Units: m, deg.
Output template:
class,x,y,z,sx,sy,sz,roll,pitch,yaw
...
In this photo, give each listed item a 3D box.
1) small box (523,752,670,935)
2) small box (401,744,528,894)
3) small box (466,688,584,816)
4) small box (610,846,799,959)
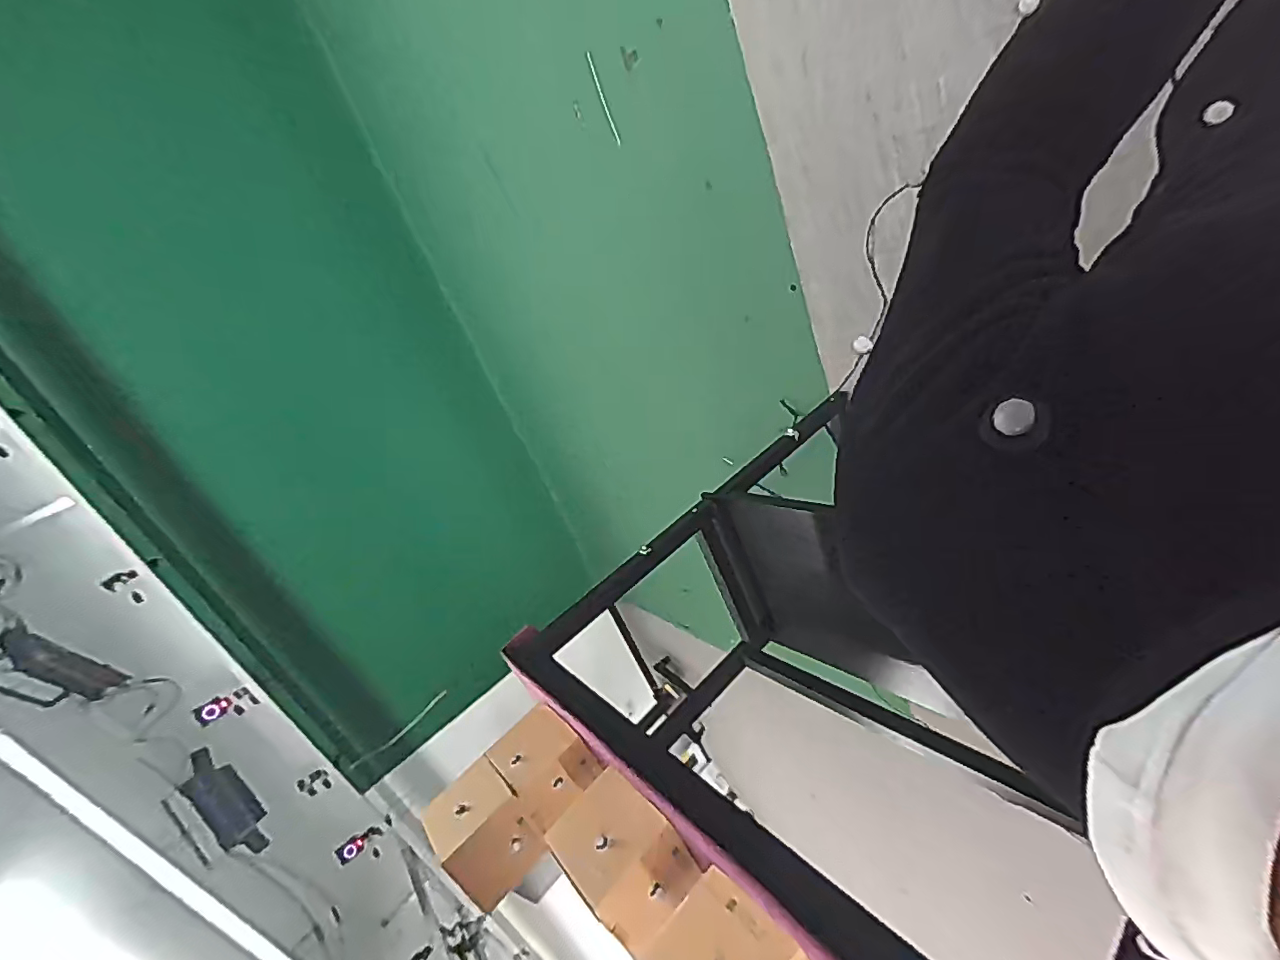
class,x,y,z,sx,sy,sz,roll,pitch,yaw
small box,-0.068,0.624,0.952,0.179,0.176,0.168,12,133,51
small box,-0.360,0.689,1.126,0.179,0.176,0.168,5,127,53
small box,-0.247,0.600,1.203,0.179,0.176,0.168,14,135,50
small box,0.097,0.657,0.738,0.168,0.176,0.179,3,127,56
